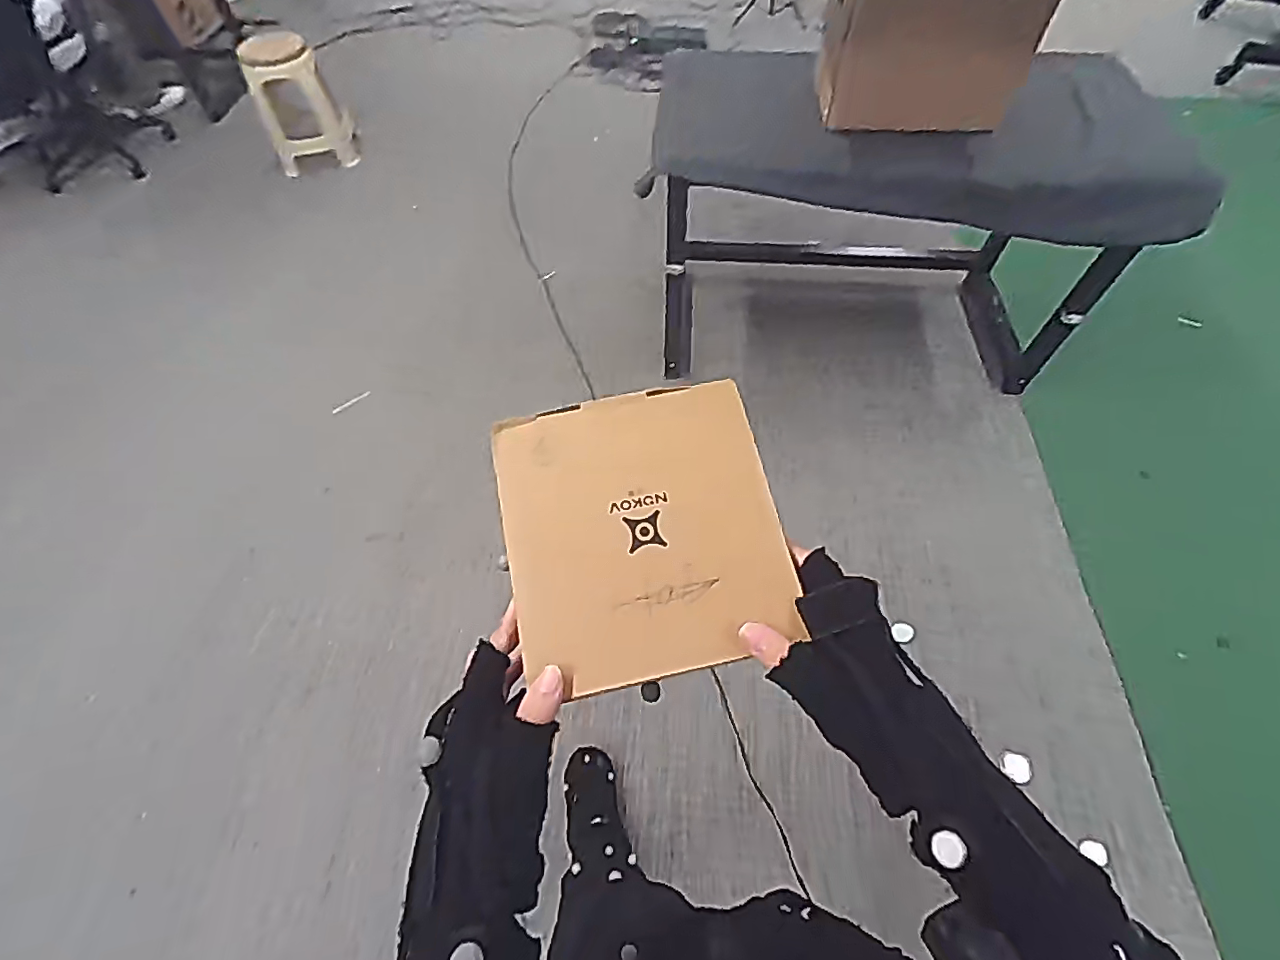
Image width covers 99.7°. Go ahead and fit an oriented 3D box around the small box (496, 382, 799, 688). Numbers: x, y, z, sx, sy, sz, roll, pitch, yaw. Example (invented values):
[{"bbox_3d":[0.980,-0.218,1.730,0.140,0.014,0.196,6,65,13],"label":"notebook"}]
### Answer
[{"bbox_3d":[-0.003,0.052,0.413,0.168,0.176,0.179,-11,72,-5],"label":"small box"}]
